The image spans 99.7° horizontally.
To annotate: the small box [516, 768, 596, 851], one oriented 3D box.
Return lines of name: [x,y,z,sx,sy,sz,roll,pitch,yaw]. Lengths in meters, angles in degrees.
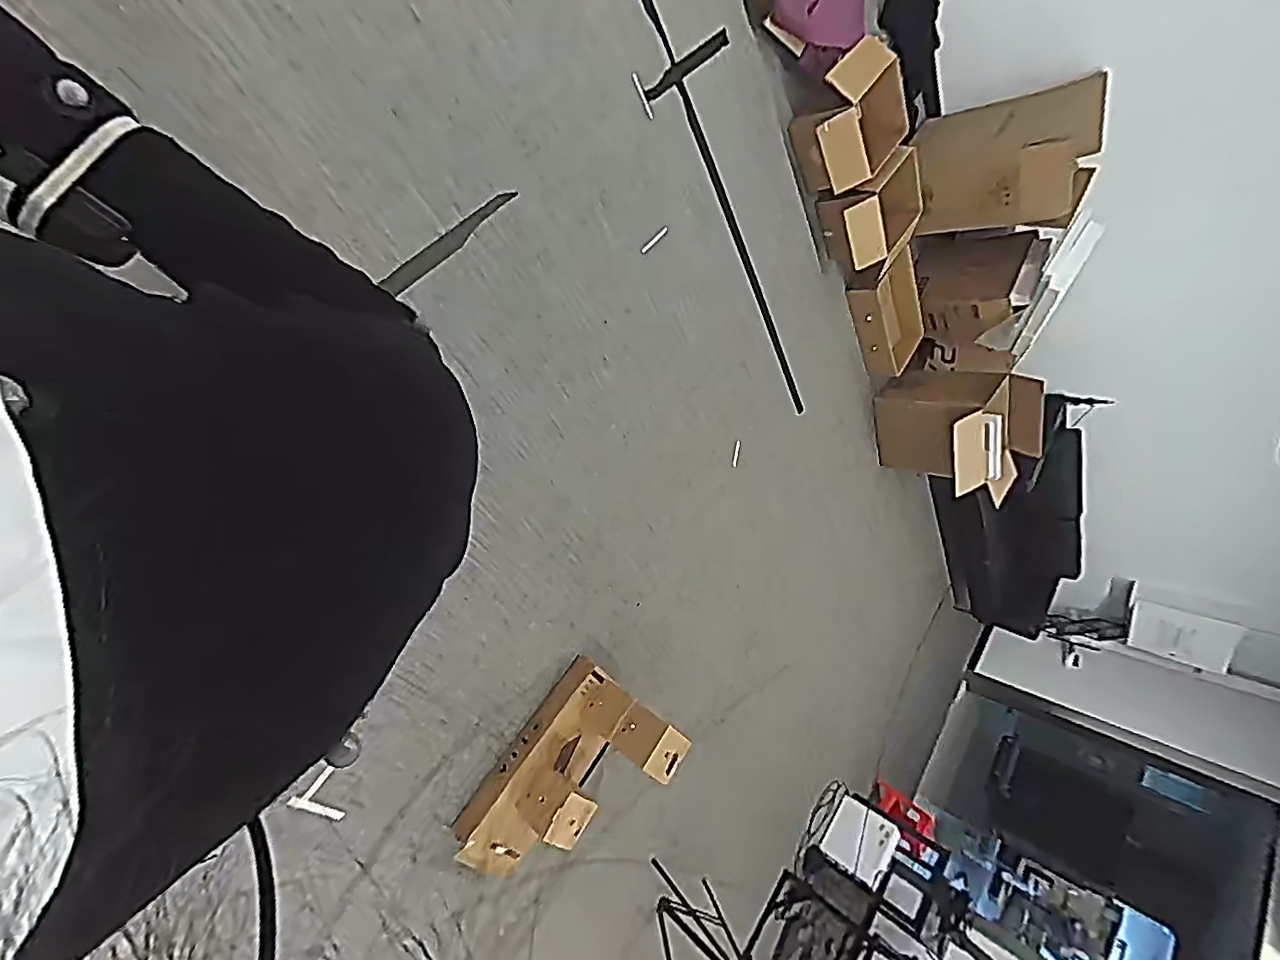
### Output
small box: [-0.293,1.131,1.867,0.168,0.176,0.179,-54,130,-22]

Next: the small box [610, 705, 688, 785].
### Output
small box: [0.031,0.917,1.886,0.168,0.176,0.179,-52,130,-20]

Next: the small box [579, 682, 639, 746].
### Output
small box: [-0.088,0.877,1.993,0.168,0.176,0.179,-51,130,-21]
